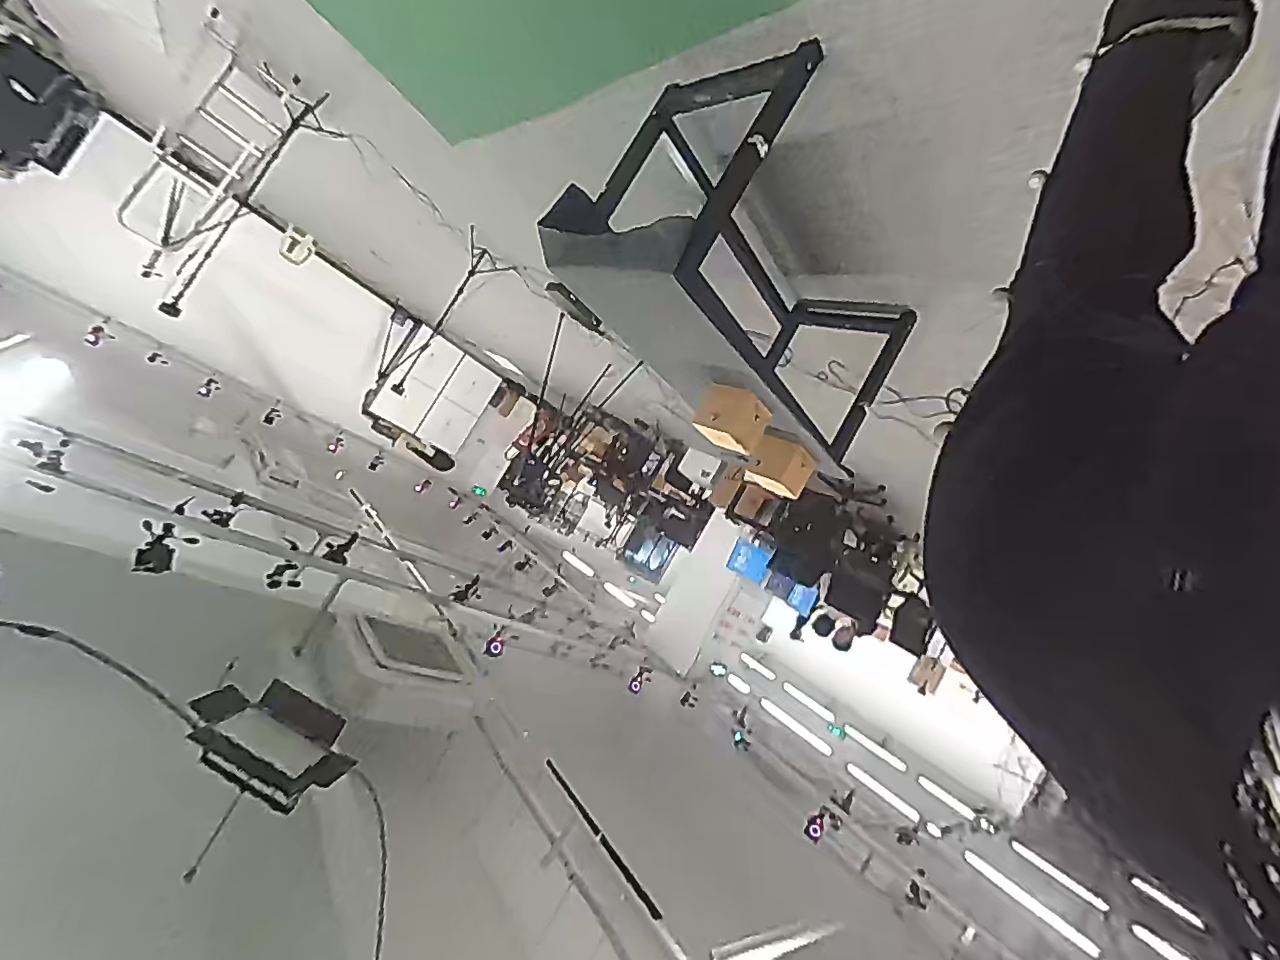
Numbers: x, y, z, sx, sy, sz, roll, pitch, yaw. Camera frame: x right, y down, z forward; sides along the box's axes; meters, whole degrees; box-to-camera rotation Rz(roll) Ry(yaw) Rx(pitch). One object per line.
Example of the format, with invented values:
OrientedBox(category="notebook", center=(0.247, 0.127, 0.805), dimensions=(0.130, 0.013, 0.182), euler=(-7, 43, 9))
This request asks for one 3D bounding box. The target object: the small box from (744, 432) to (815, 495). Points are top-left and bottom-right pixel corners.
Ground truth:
OrientedBox(category="small box", center=(0.548, -0.068, 2.111), dimensions=(0.168, 0.176, 0.179), euler=(33, 174, -42))

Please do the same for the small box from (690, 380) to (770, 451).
OrientedBox(category="small box", center=(0.314, -0.225, 1.865), dimensions=(0.179, 0.176, 0.168), euler=(24, 173, 47))
